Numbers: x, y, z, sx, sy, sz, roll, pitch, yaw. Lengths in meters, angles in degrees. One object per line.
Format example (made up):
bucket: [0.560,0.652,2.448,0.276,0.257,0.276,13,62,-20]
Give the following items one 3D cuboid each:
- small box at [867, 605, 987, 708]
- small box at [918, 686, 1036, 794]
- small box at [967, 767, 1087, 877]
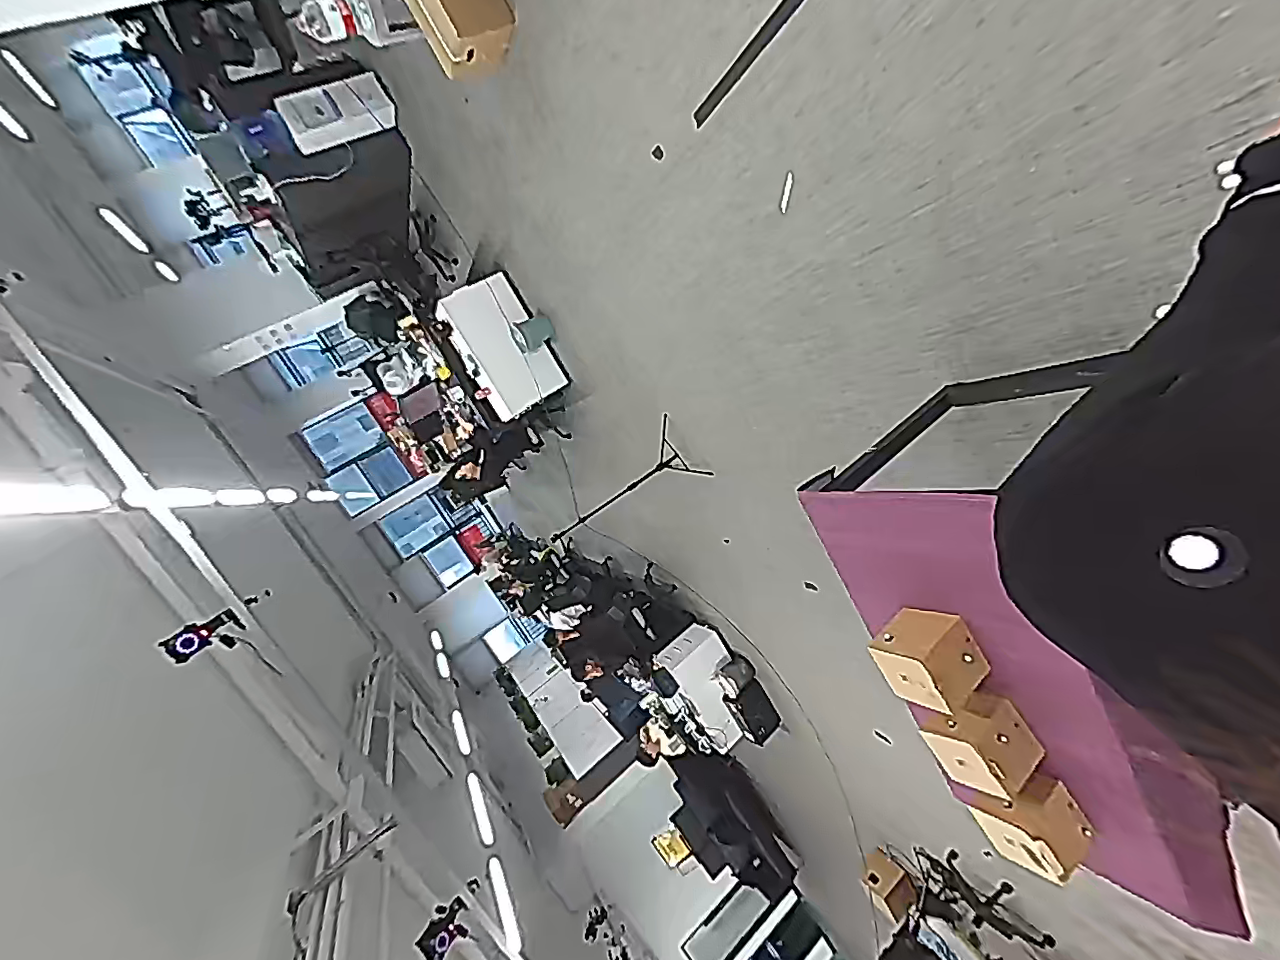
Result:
small box: [0.728,0.438,1.374,0.168,0.176,0.179,57,159,-7]
small box: [0.876,0.658,1.396,0.168,0.176,0.179,55,160,1]
small box: [1.014,0.867,1.409,0.168,0.176,0.179,56,160,-1]
